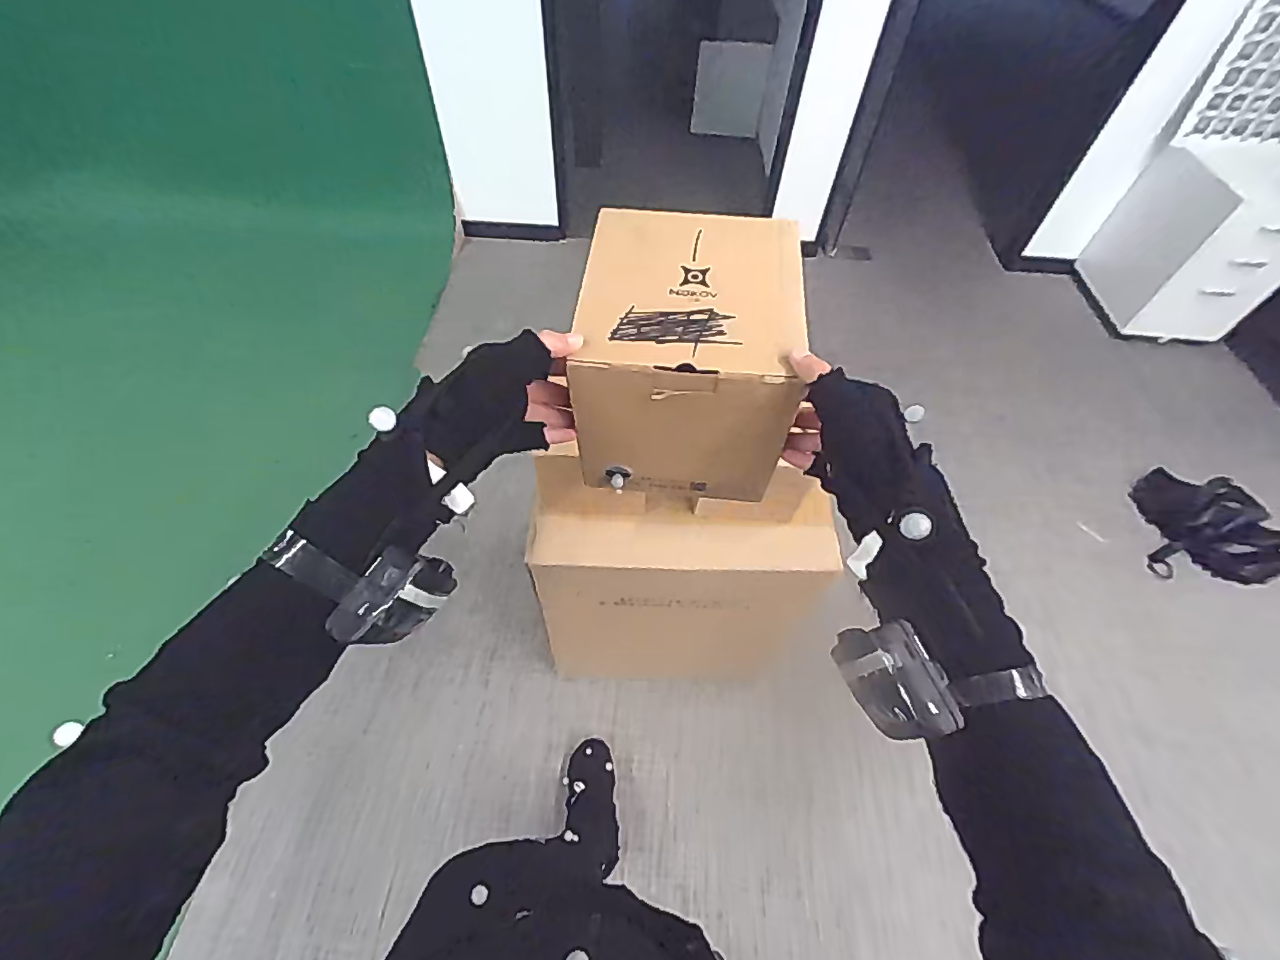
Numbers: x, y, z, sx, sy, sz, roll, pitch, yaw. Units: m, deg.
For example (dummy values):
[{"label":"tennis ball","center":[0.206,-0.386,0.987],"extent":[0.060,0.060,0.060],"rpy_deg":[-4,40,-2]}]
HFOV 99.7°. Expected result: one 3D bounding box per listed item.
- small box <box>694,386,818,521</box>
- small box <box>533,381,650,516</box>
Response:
[{"label":"small box","center":[0.186,-0.041,0.925],"extent":[0.179,0.176,0.168],"rpy_deg":[3,57,-1]},{"label":"small box","center":[-0.076,-0.050,0.919],"extent":[0.179,0.176,0.168],"rpy_deg":[0,56,-1]}]
